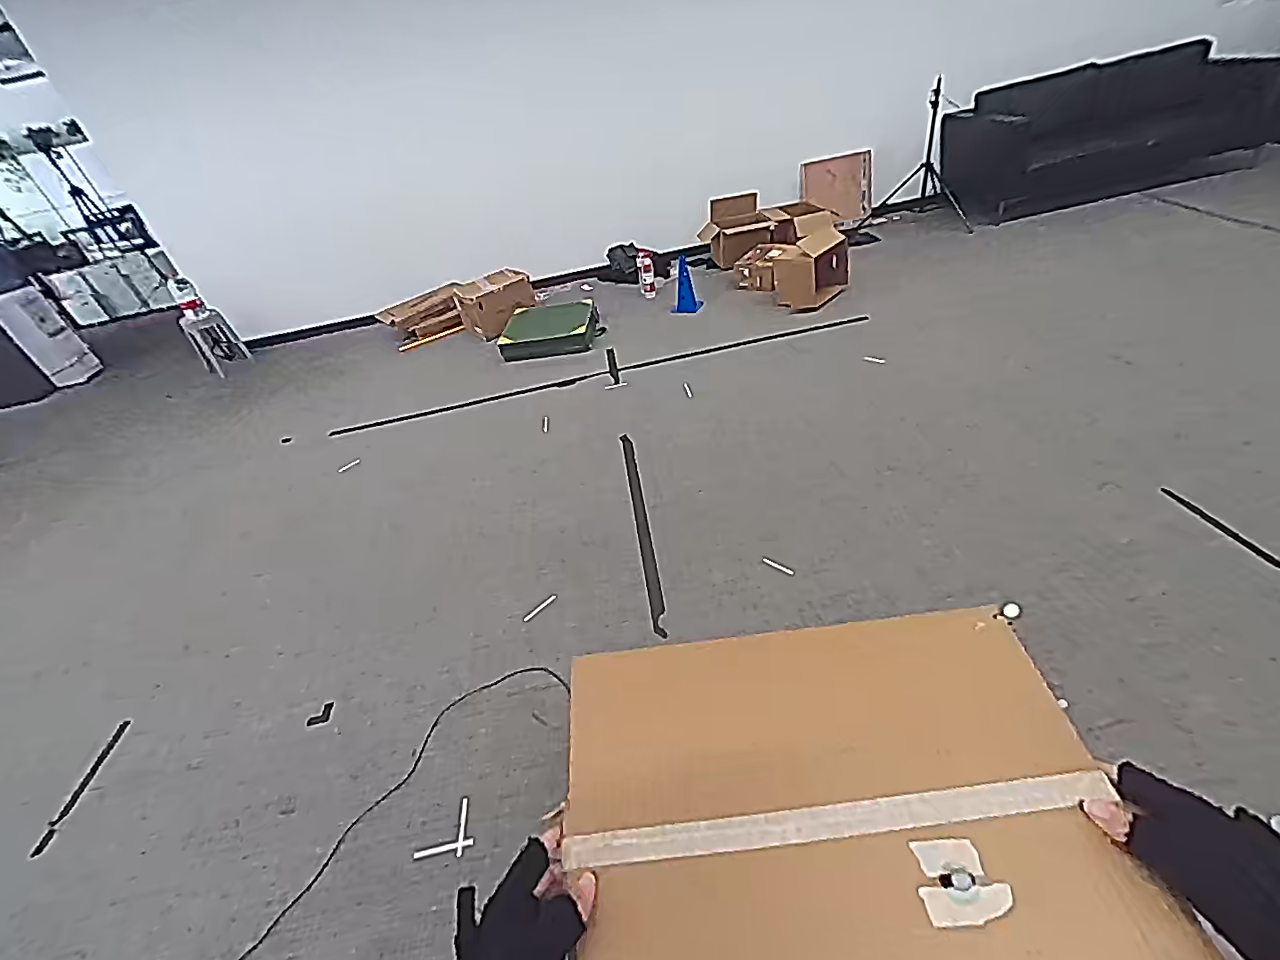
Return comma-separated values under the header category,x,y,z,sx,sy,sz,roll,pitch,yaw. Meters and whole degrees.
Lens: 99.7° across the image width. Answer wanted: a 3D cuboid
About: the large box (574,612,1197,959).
category,x,y,z,sx,sy,sz,roll,pitch,yaw
large box,0.161,0.366,0.519,0.408,0.320,0.320,-8,46,0
